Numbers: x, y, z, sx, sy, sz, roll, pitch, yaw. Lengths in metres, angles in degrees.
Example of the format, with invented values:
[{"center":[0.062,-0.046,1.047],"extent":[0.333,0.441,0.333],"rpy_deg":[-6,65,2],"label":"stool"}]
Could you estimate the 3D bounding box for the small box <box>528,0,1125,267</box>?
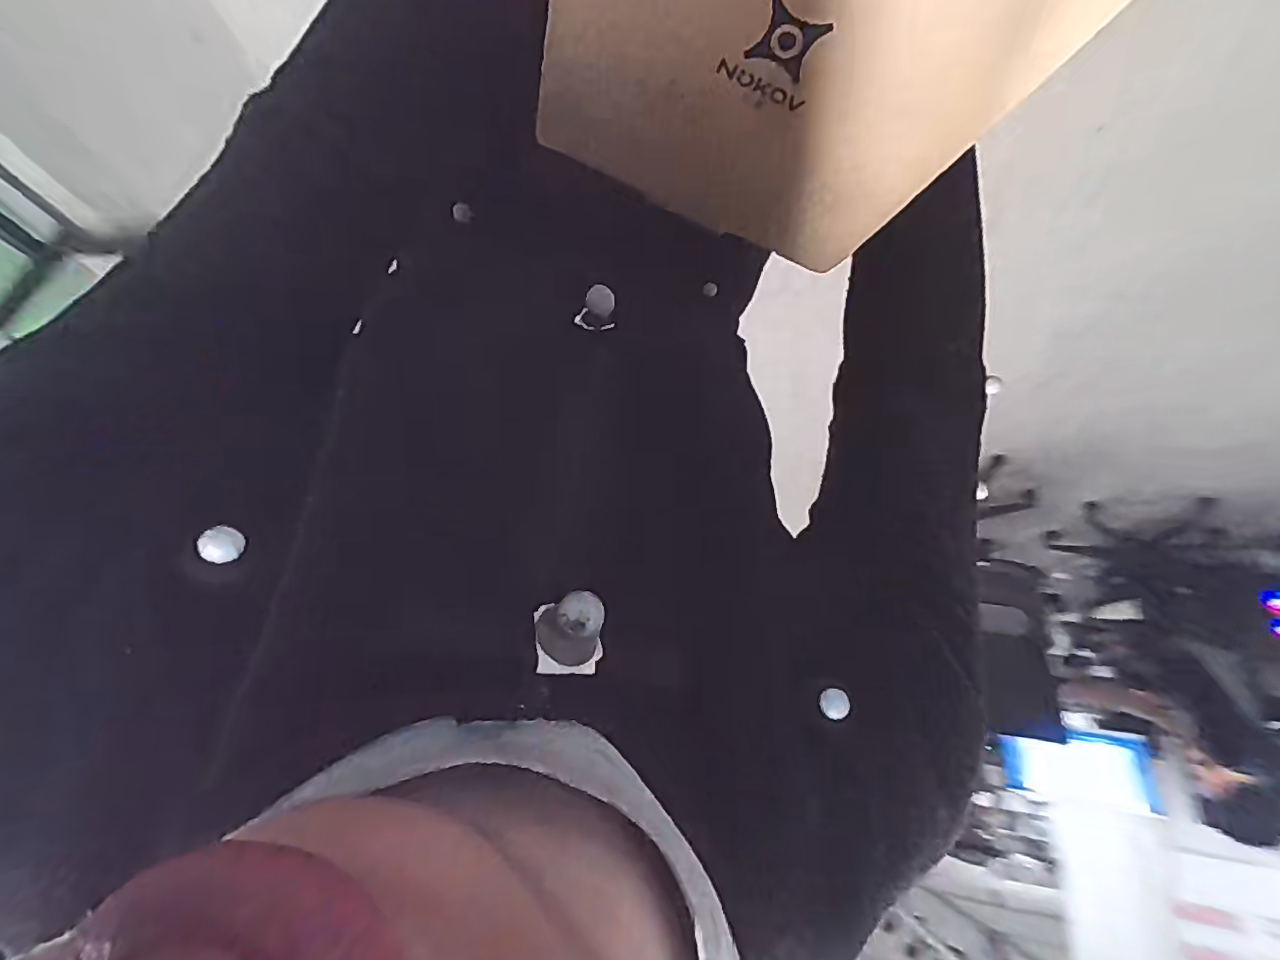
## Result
[{"center":[0.065,-0.226,0.207],"extent":[0.168,0.176,0.179],"rpy_deg":[18,167,-11],"label":"small box"}]
